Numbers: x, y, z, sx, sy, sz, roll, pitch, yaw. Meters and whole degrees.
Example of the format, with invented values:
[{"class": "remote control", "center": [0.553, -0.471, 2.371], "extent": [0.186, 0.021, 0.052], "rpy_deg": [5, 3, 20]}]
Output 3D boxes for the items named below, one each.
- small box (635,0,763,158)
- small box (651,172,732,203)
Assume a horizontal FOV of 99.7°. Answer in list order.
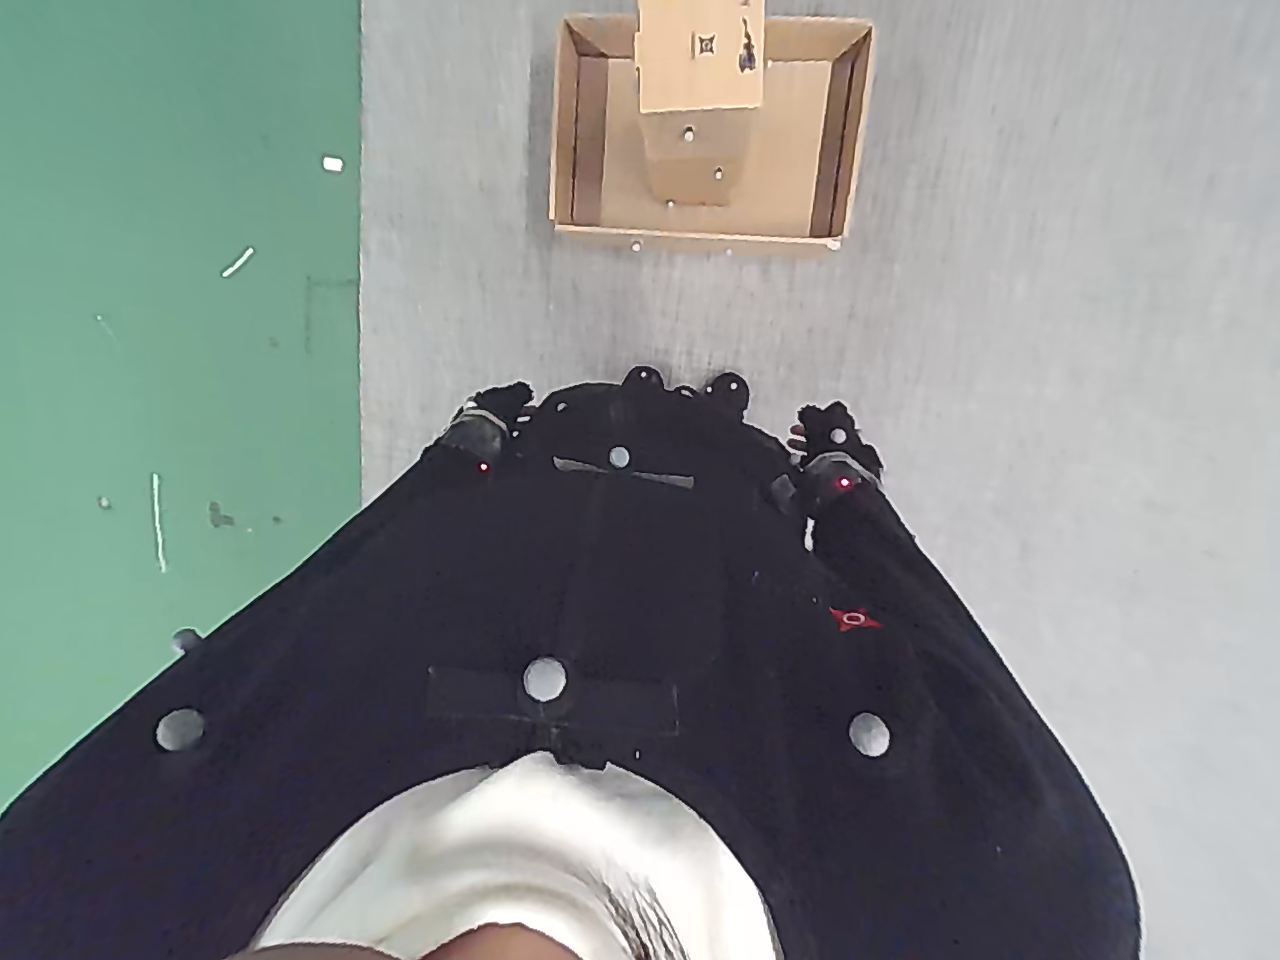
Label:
[{"class": "small box", "center": [0.091, -0.620, 0.831], "extent": [0.179, 0.176, 0.168], "rpy_deg": [-2, 99, 6]}, {"class": "small box", "center": [0.119, -0.702, 1.142], "extent": [0.168, 0.176, 0.179], "rpy_deg": [5, 102, 5]}]
